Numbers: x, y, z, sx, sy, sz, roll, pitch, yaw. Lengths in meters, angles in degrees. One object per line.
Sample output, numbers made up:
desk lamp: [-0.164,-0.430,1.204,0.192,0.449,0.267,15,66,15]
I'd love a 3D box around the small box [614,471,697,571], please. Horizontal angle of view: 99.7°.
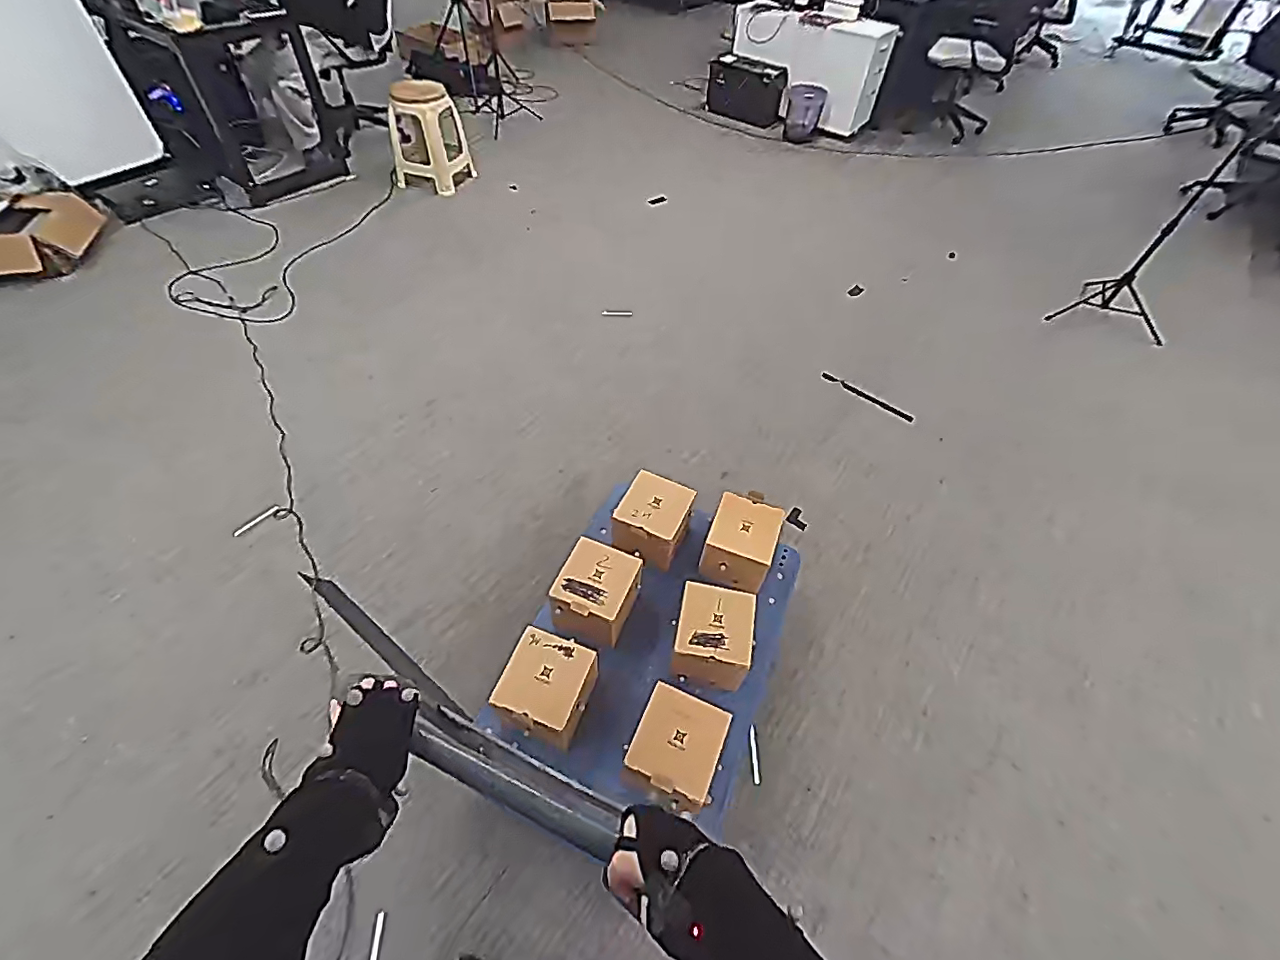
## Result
small box: [0.037,0.112,1.461,0.168,0.176,0.179,23,55,14]

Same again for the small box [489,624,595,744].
small box: [-0.203,0.451,1.183,0.168,0.176,0.179,19,54,10]

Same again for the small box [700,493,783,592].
small box: [0.263,0.171,1.432,0.168,0.176,0.179,19,53,11]

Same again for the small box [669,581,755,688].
small box: [0.166,0.367,1.271,0.168,0.176,0.179,12,51,6]

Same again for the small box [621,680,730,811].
small box: [0.070,0.554,1.121,0.168,0.176,0.179,22,53,13]
